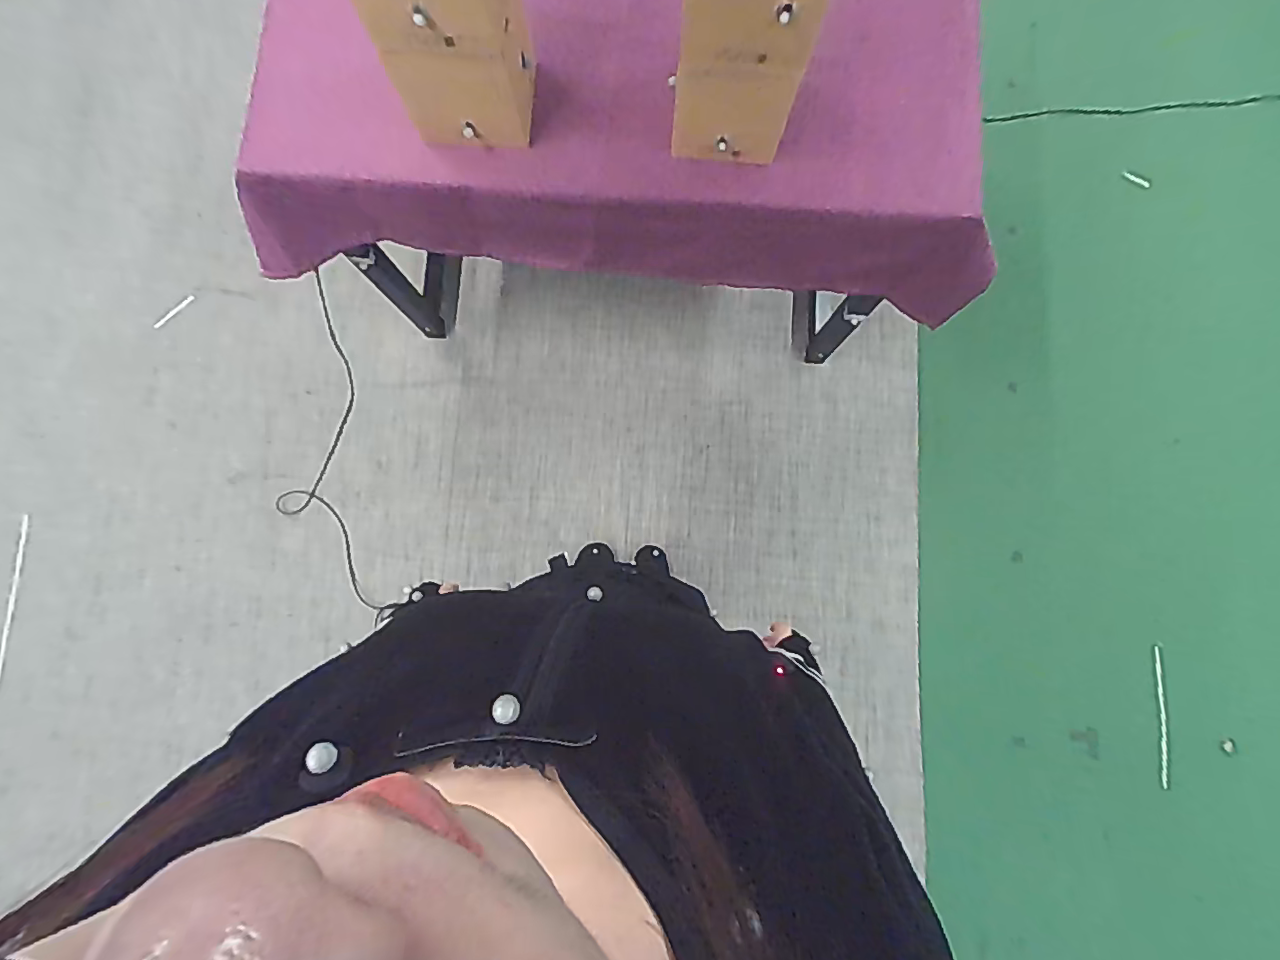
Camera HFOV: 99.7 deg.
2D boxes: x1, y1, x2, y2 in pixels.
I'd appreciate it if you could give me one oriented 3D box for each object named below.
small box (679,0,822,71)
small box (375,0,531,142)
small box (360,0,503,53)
[{"bbox_3d":[0.138,-0.637,0.647,0.168,0.176,0.179,4,83,0],"label":"small box"},{"bbox_3d":[-0.265,-0.641,0.809,0.179,0.176,0.168,2,82,-1],"label":"small box"},{"bbox_3d":[-0.262,-0.667,0.645,0.168,0.176,0.179,4,83,0],"label":"small box"}]
